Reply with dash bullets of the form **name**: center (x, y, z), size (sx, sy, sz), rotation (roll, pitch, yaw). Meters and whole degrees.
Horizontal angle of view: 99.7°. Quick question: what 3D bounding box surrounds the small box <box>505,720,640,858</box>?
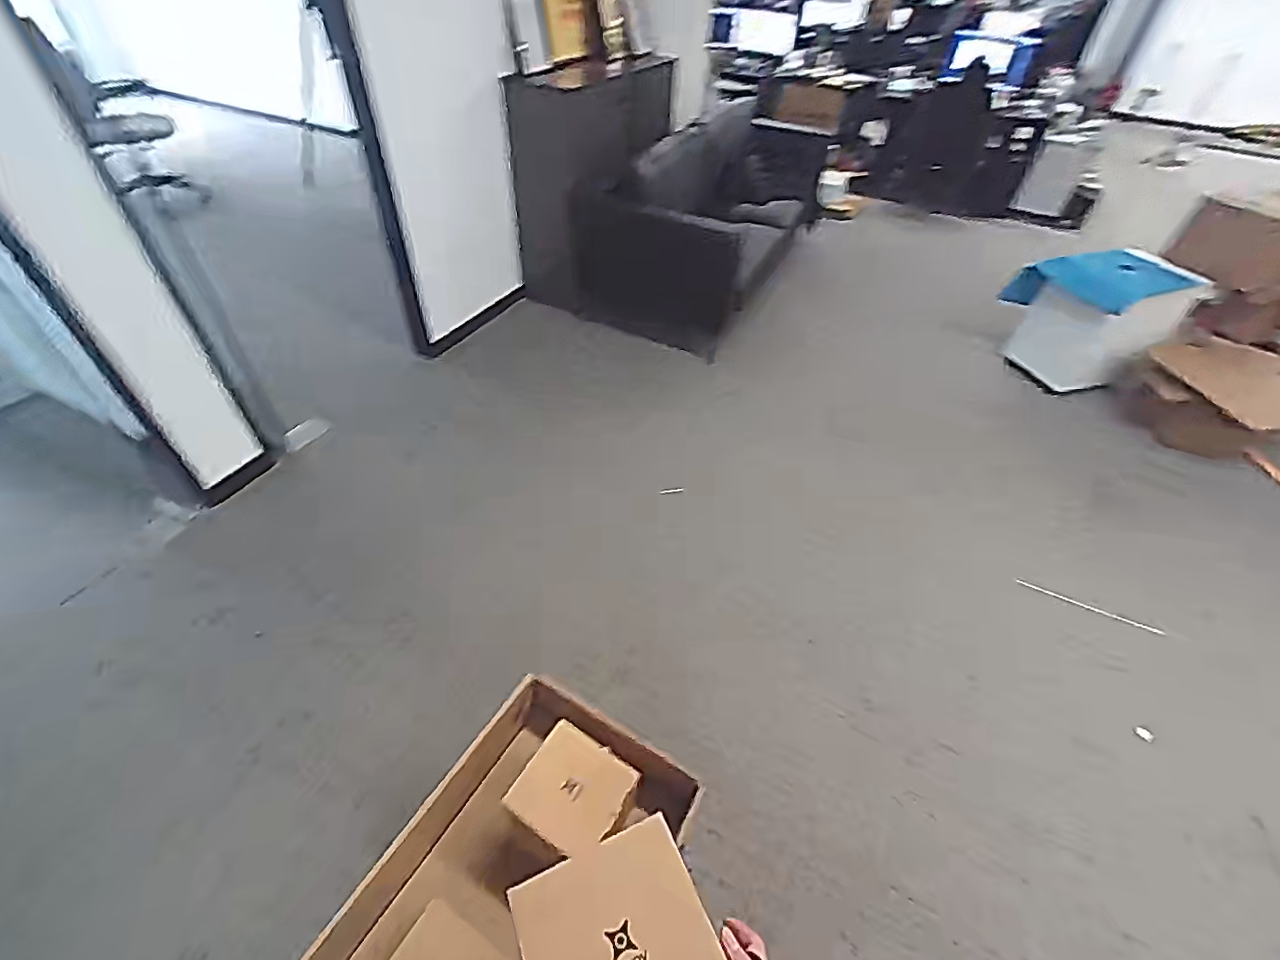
- **small box**: center (-0.119, 0.582, 0.979), size (0.179, 0.176, 0.168), rotation (26, 49, 19)

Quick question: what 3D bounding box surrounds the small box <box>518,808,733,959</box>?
- **small box**: center (-0.015, 0.471, 0.531), size (0.168, 0.176, 0.179), rotation (-14, 44, -19)
